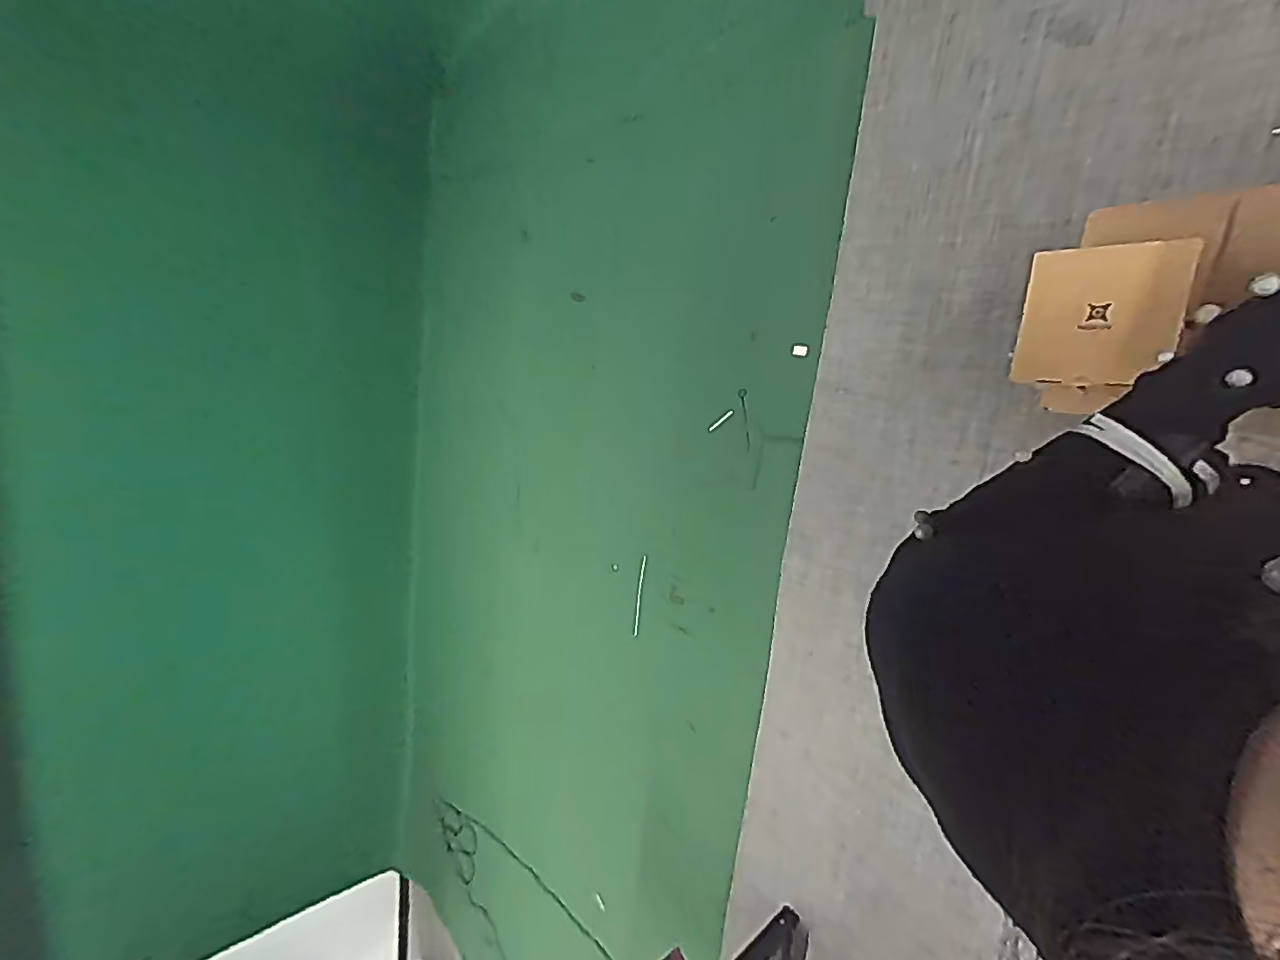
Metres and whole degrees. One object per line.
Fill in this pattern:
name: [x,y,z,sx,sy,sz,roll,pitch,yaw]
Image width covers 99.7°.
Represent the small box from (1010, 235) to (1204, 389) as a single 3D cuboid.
small box: [0.648,-0.223,0.755,0.168,0.176,0.179,15,106,45]
